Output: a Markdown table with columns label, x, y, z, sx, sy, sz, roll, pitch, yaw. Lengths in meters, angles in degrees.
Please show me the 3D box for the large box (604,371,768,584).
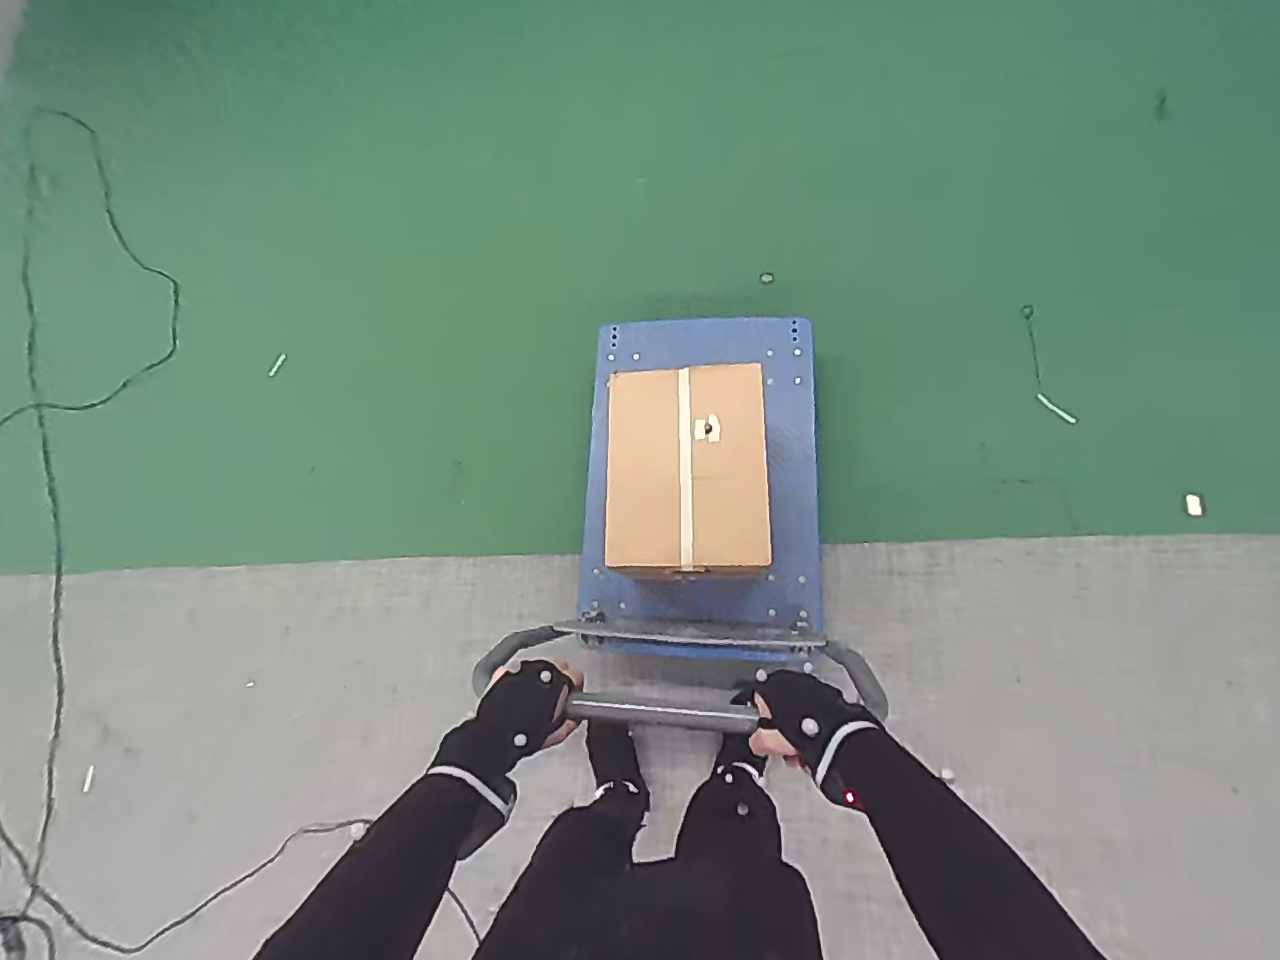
| label | x | y | z | sx | sy | sz | roll | pitch | yaw |
| --- | --- | --- | --- | --- | --- | --- | --- | --- | --- |
| large box | 0.107 | 0.016 | 1.203 | 0.320 | 0.320 | 0.408 | -2 | 75 | 9 |
